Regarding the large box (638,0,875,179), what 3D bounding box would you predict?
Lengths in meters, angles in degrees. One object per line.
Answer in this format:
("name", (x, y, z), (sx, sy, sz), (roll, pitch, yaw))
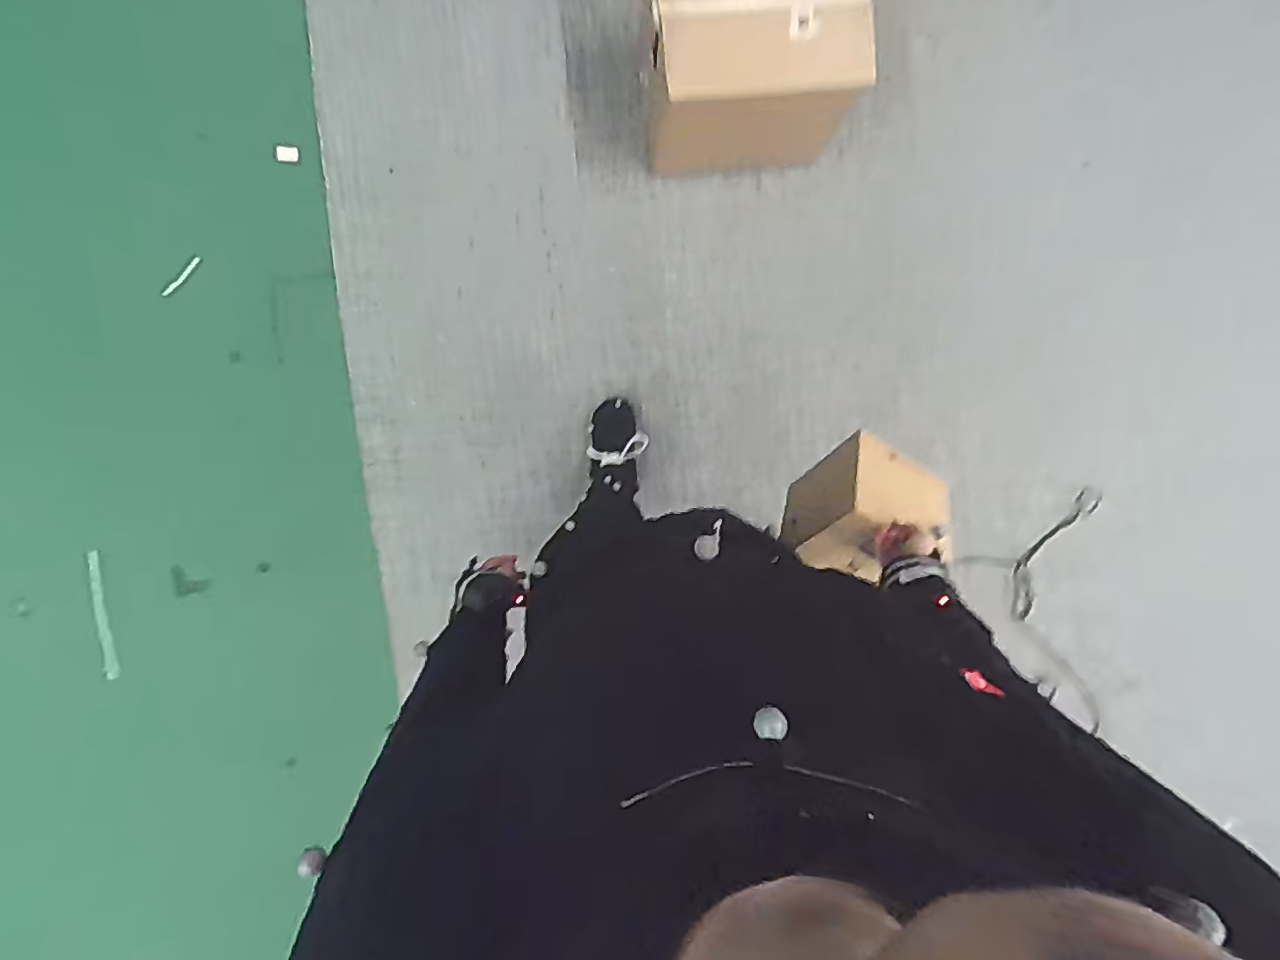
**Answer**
("large box", (0.223, -0.884, 1.153), (0.408, 0.320, 0.320), (-7, 95, -5))
